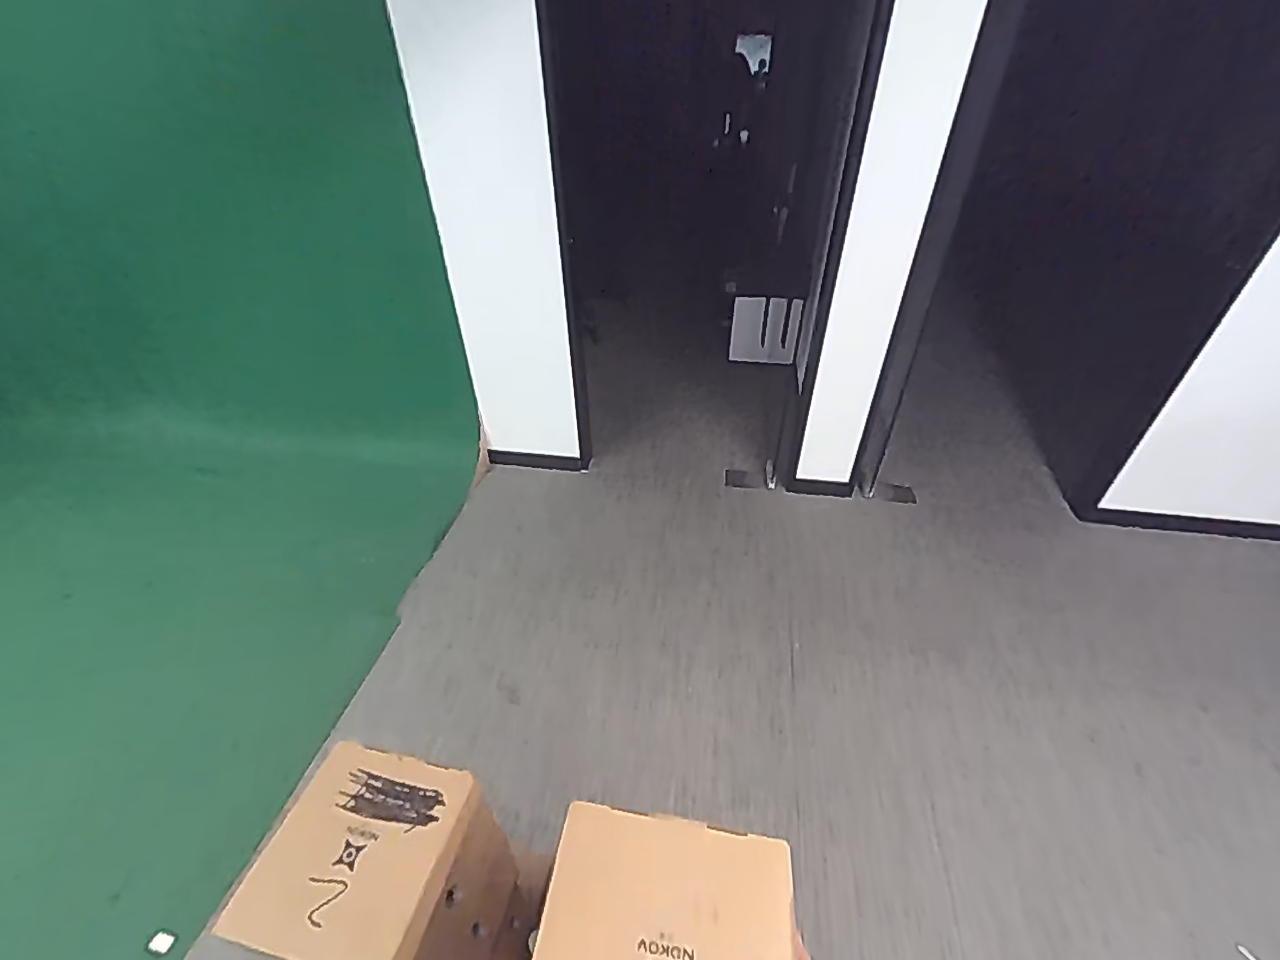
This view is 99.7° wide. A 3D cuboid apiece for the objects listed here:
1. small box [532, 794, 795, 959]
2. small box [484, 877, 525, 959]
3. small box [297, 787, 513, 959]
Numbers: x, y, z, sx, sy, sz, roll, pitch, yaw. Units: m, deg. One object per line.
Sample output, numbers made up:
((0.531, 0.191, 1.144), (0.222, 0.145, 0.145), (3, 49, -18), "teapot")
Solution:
((0.009, 0.364, 0.381), (0.168, 0.176, 0.179), (9, 37, 6), "small box")
((-0.274, 0.666, 0.771), (0.168, 0.176, 0.179), (8, 39, 9), "small box")
((-0.272, 0.529, 0.679), (0.168, 0.176, 0.179), (9, 39, 10), "small box")
